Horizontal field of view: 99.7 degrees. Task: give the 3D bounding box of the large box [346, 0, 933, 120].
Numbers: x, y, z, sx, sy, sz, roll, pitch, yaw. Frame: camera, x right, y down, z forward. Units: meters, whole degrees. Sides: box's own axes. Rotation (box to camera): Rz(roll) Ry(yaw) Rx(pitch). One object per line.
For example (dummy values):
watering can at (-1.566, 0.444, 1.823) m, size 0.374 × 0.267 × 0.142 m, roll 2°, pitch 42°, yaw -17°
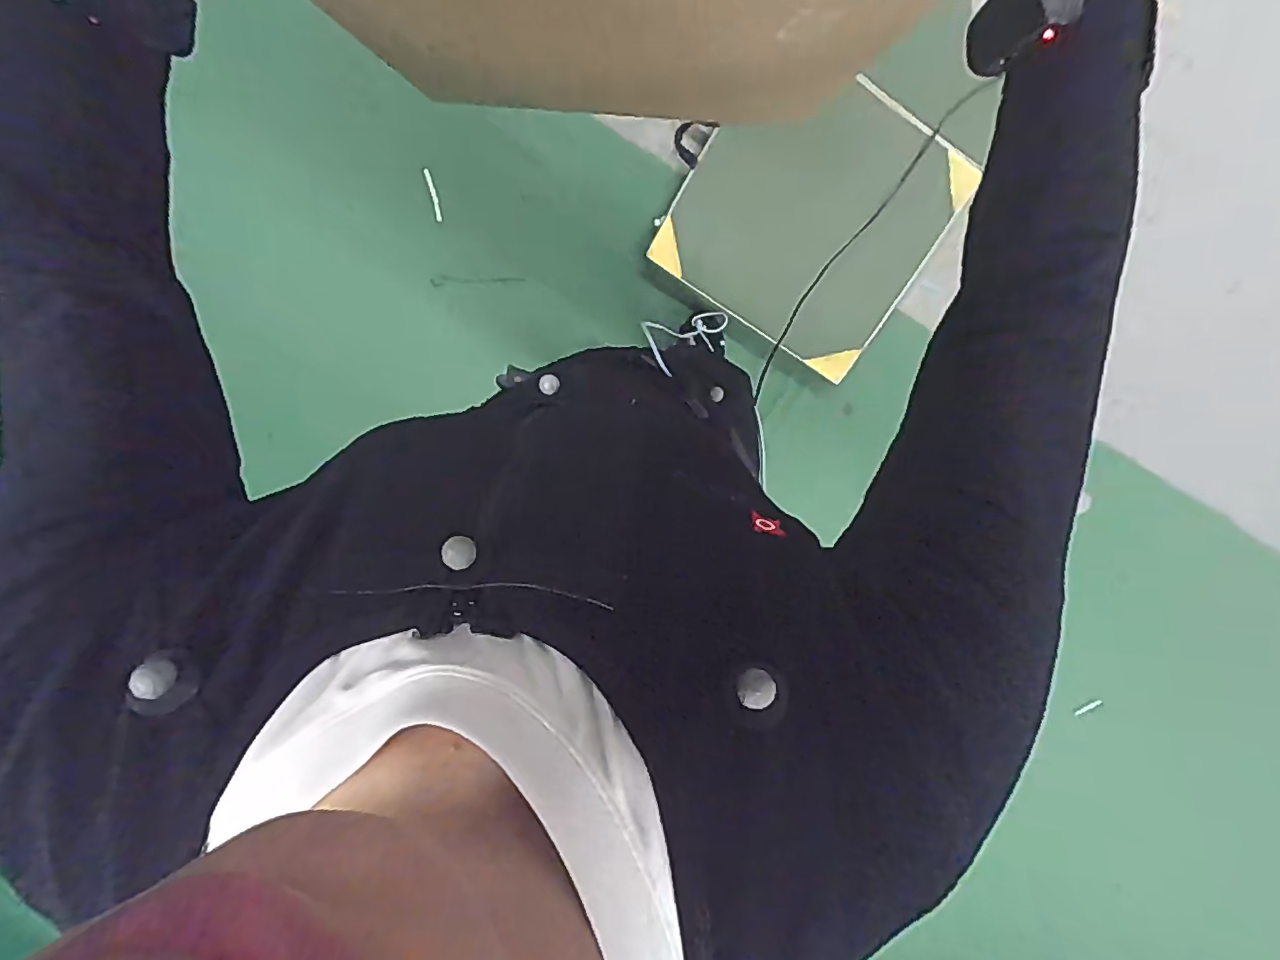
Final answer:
large box at (-0.006, -0.487, 0.390) m, size 0.408 × 0.320 × 0.320 m, roll 2°, pitch 111°, yaw -3°
